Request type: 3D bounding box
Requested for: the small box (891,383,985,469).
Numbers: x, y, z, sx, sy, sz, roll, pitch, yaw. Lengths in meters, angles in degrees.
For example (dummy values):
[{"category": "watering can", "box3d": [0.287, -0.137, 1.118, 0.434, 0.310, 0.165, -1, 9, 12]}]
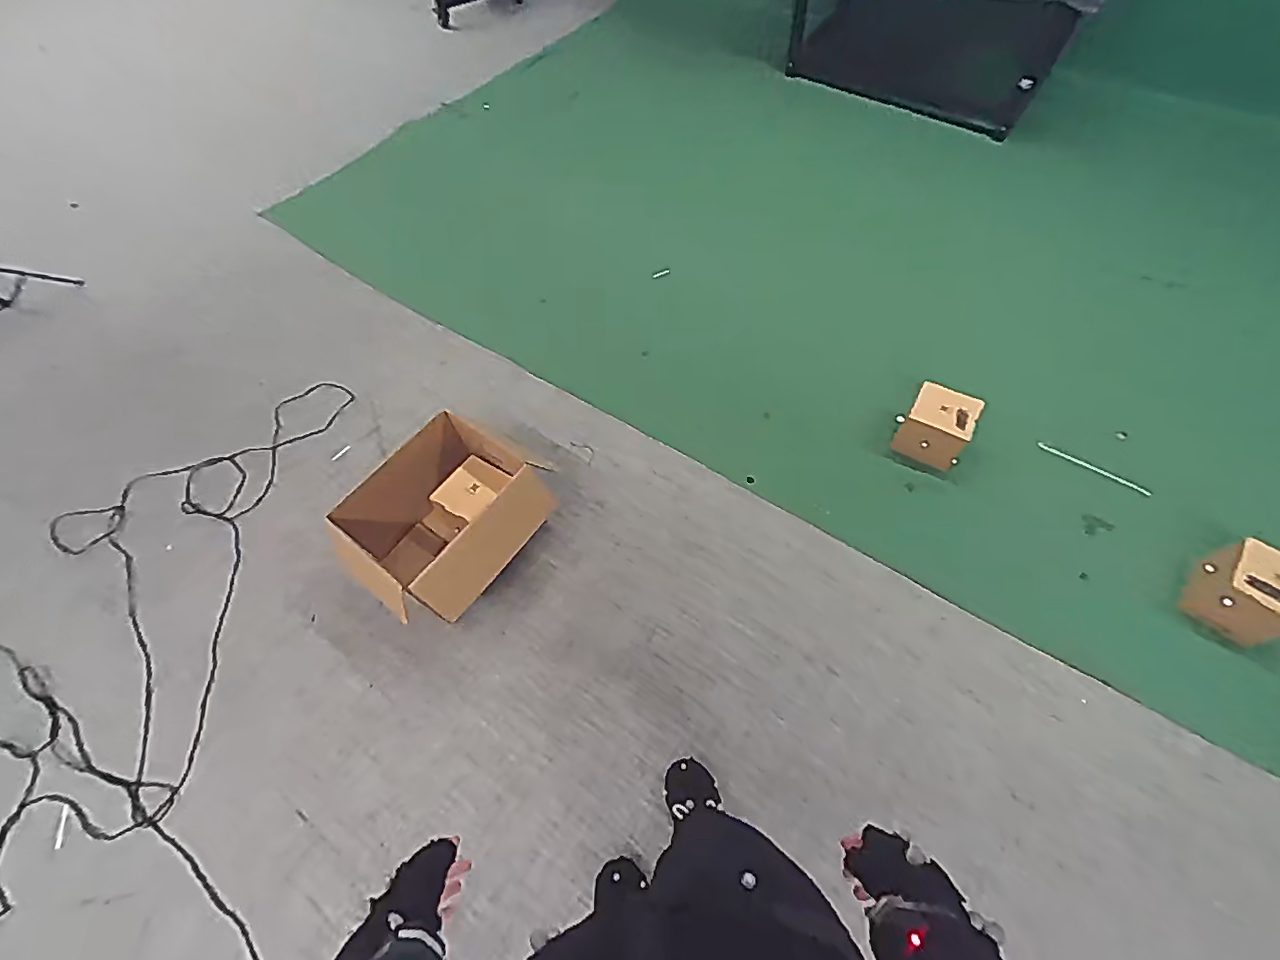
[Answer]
[{"category": "small box", "box3d": [0.901, -0.157, 1.647, 0.179, 0.176, 0.168, 27, 64, 18]}]
